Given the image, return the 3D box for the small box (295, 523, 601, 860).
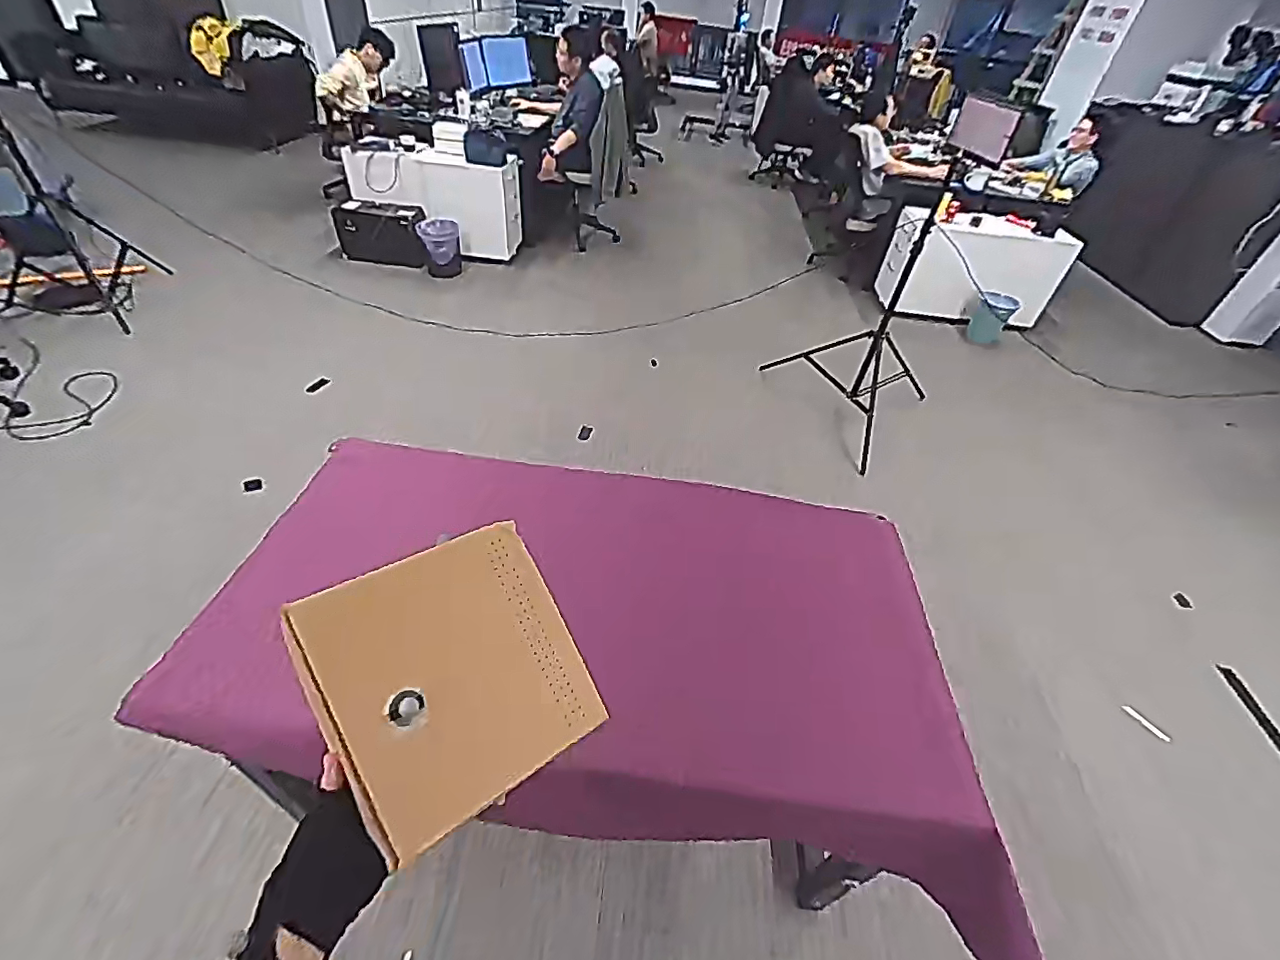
[{"bbox_3d":[-0.160,0.160,0.447,0.176,0.168,0.179,-21,81,-39],"label":"small box"}]
